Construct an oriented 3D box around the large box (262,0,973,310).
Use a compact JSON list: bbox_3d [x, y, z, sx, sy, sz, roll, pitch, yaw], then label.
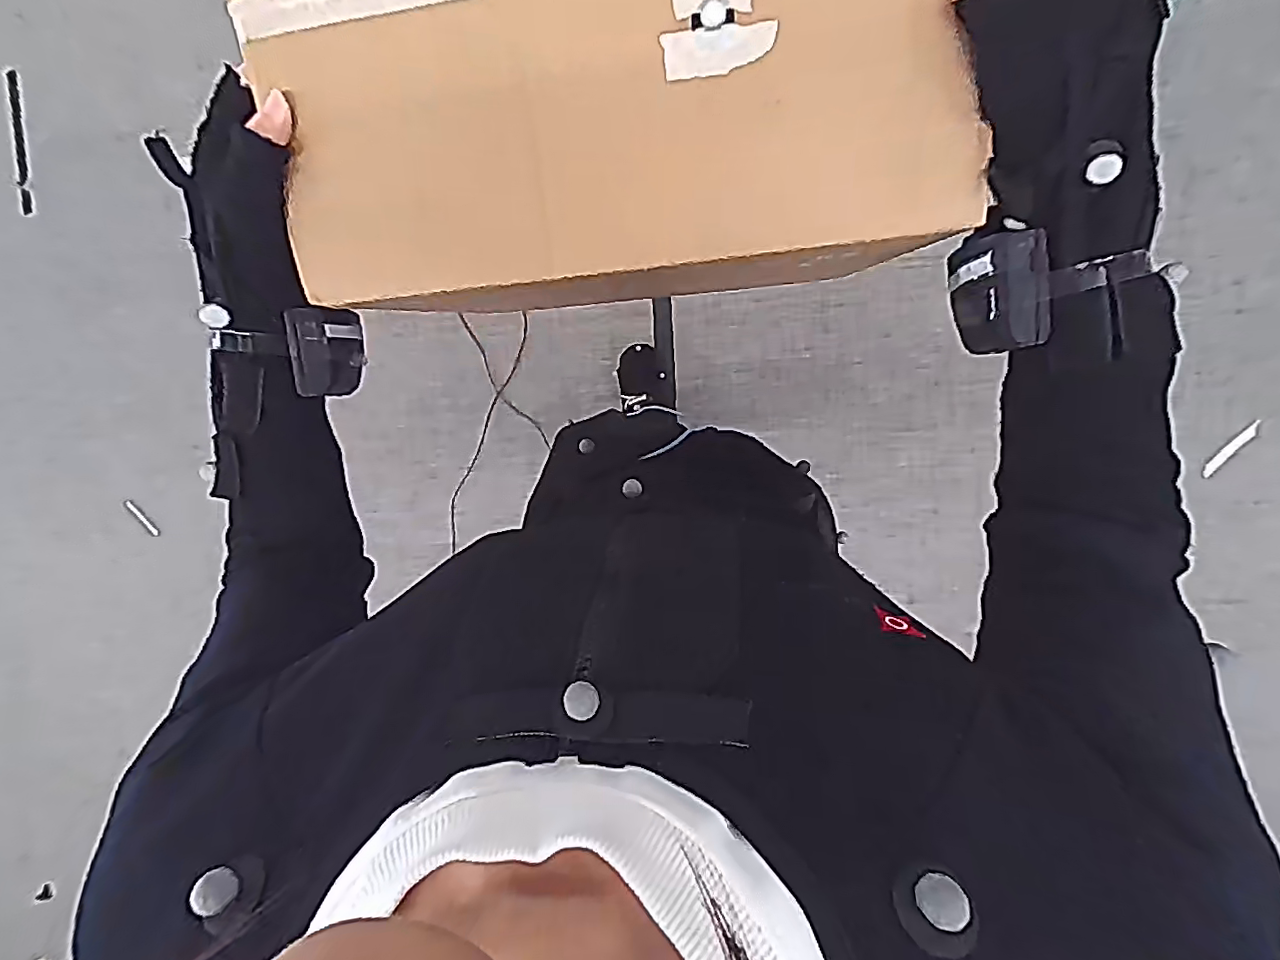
[{"bbox_3d":[-0.011,-0.325,0.436,0.408,0.320,0.320,-4,106,8],"label":"large box"}]
